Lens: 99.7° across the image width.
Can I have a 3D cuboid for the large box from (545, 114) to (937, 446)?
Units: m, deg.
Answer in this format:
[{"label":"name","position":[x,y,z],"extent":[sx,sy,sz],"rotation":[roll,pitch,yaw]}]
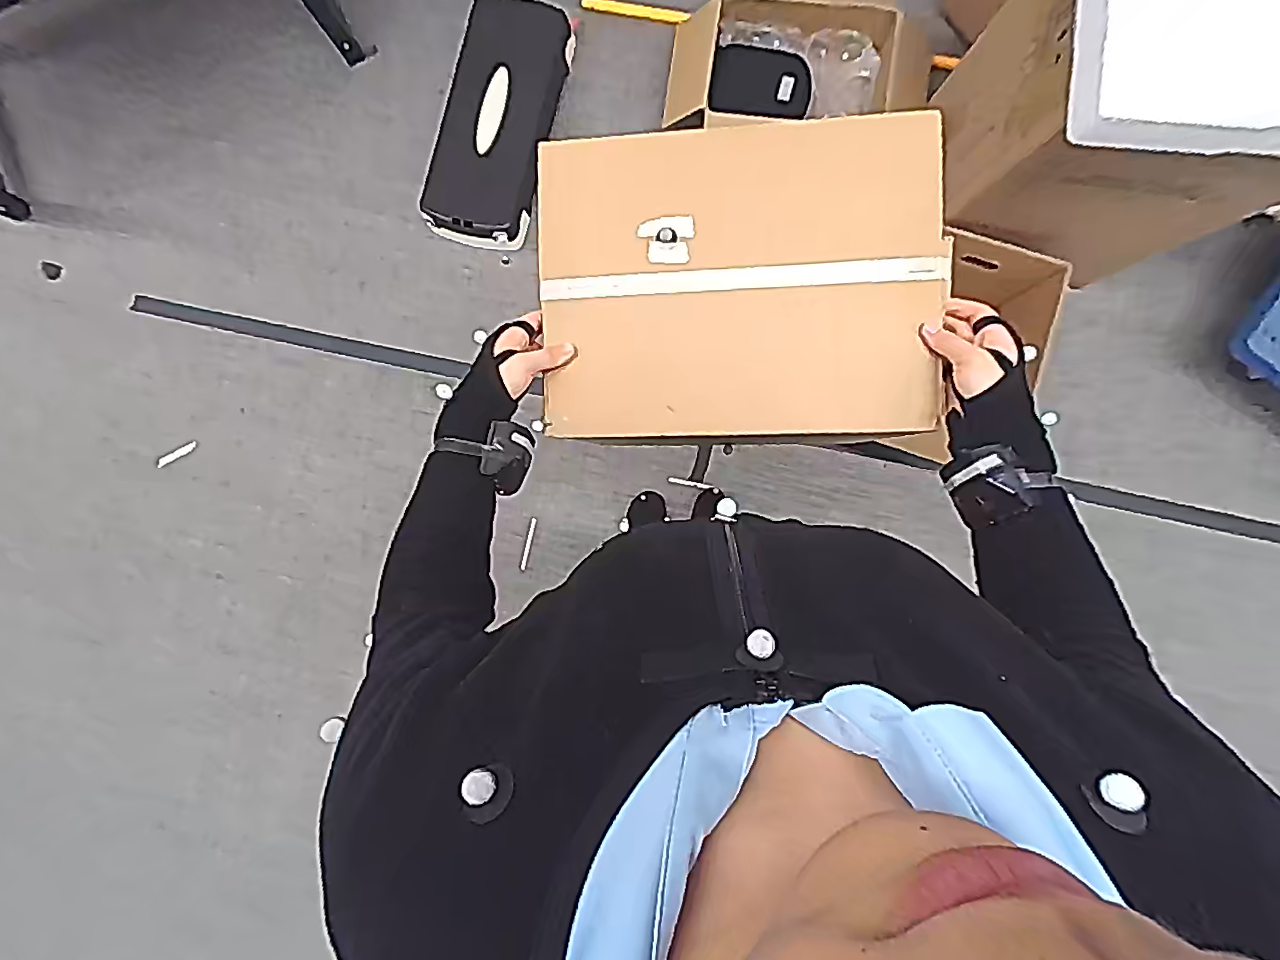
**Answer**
[{"label":"large box","position":[0.119,-0.208,0.711],"extent":[0.408,0.320,0.320],"rotation":[-1,90,8]}]
